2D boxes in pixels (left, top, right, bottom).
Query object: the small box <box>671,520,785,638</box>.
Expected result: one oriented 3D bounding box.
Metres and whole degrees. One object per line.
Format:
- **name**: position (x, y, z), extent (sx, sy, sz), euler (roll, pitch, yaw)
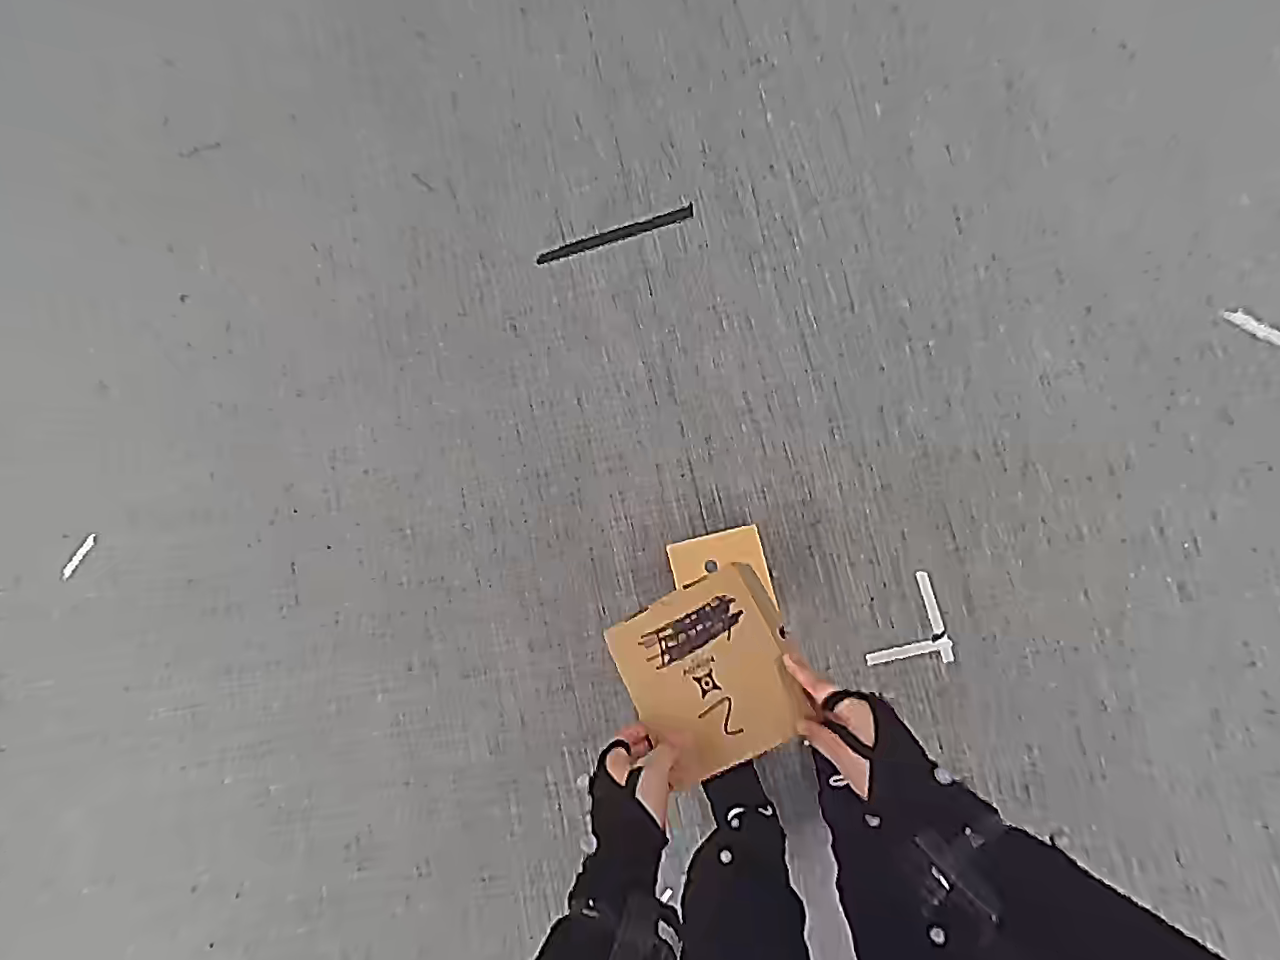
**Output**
- **small box**: position (0.161, 0.181, 1.019), extent (0.168, 0.176, 0.179), euler (-15, 83, 7)
